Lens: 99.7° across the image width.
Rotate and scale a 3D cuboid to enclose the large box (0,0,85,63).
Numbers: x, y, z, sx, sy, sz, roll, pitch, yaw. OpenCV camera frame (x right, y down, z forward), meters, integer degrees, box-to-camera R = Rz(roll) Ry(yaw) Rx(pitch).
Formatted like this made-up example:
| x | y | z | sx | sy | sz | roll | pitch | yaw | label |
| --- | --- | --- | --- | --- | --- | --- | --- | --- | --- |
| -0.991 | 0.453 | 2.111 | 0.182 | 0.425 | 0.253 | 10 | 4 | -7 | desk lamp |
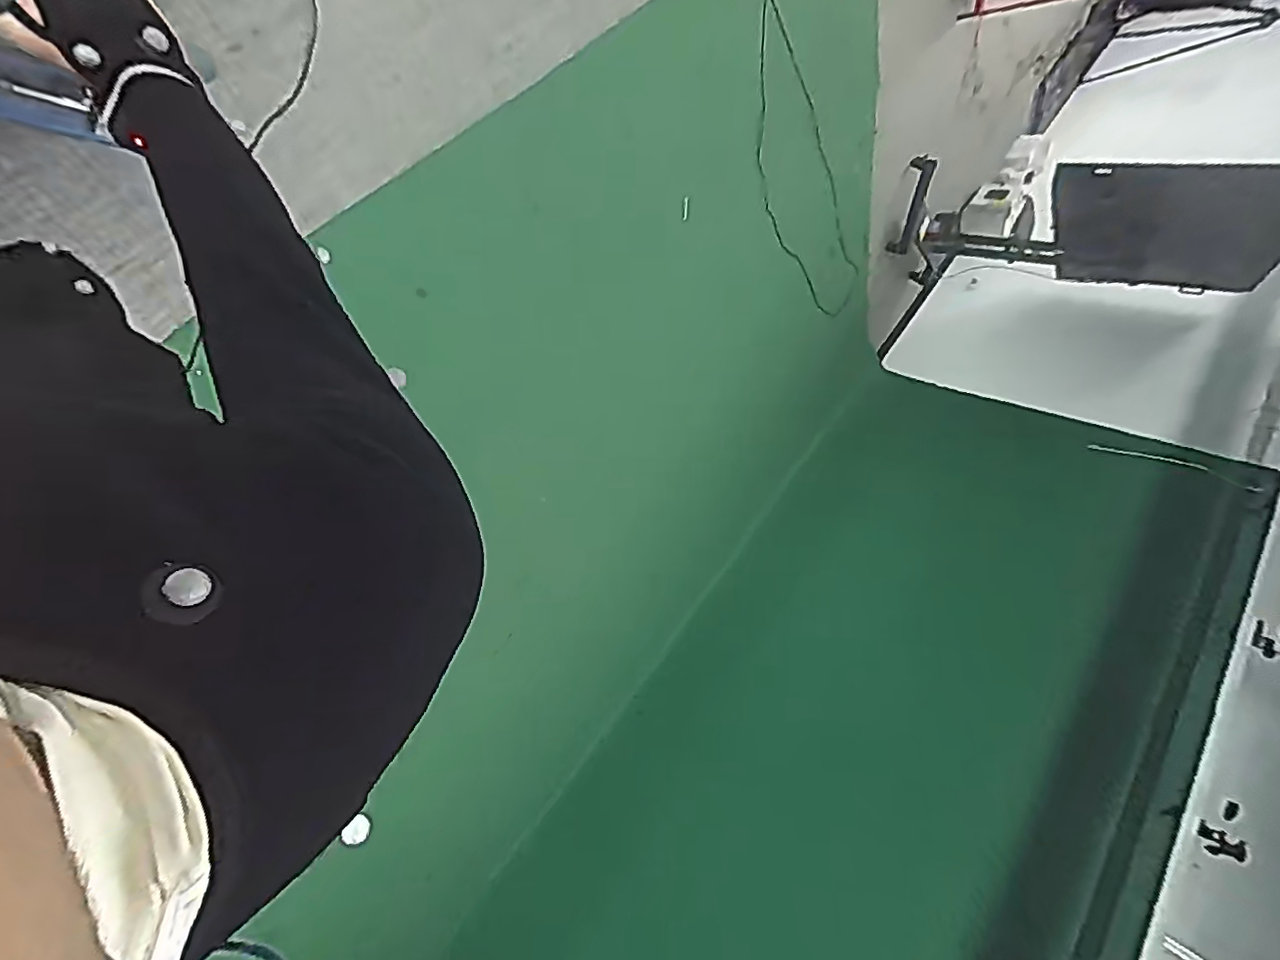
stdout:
| x | y | z | sx | sy | sz | roll | pitch | yaw | label |
| --- | --- | --- | --- | --- | --- | --- | --- | --- | --- |
| -0.902 | -0.789 | 0.620 | 0.320 | 0.320 | 0.408 | -11 | 119 | -49 | large box |
